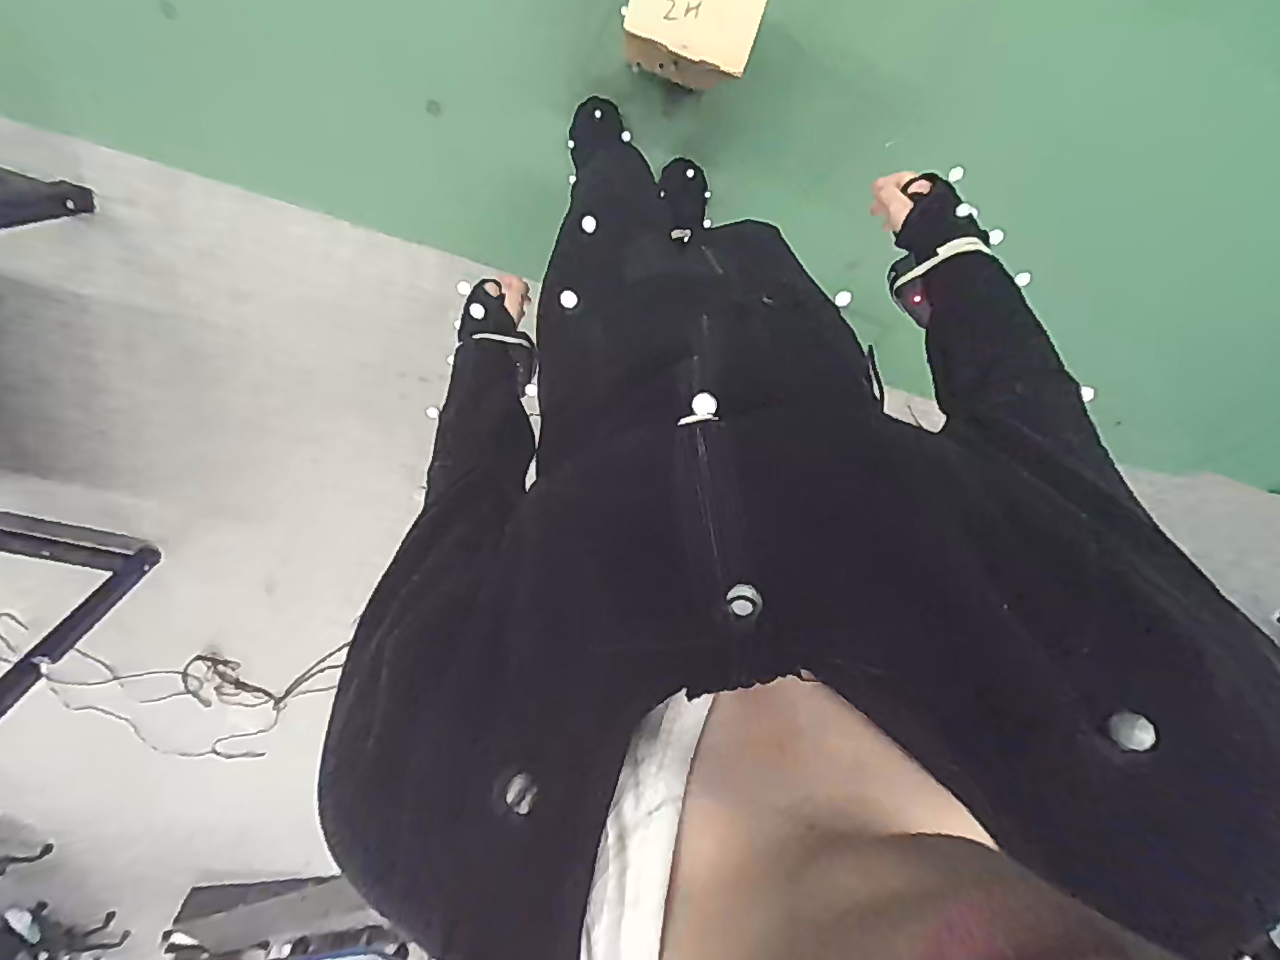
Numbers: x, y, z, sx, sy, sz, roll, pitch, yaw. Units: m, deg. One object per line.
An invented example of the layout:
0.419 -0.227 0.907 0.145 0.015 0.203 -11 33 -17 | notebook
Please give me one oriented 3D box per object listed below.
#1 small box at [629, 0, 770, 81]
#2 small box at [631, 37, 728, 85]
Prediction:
0.084 -0.667 0.725 0.168 0.176 0.179 14 123 -10 | small box
0.084 -0.760 0.861 0.168 0.176 0.179 13 123 -10 | small box
